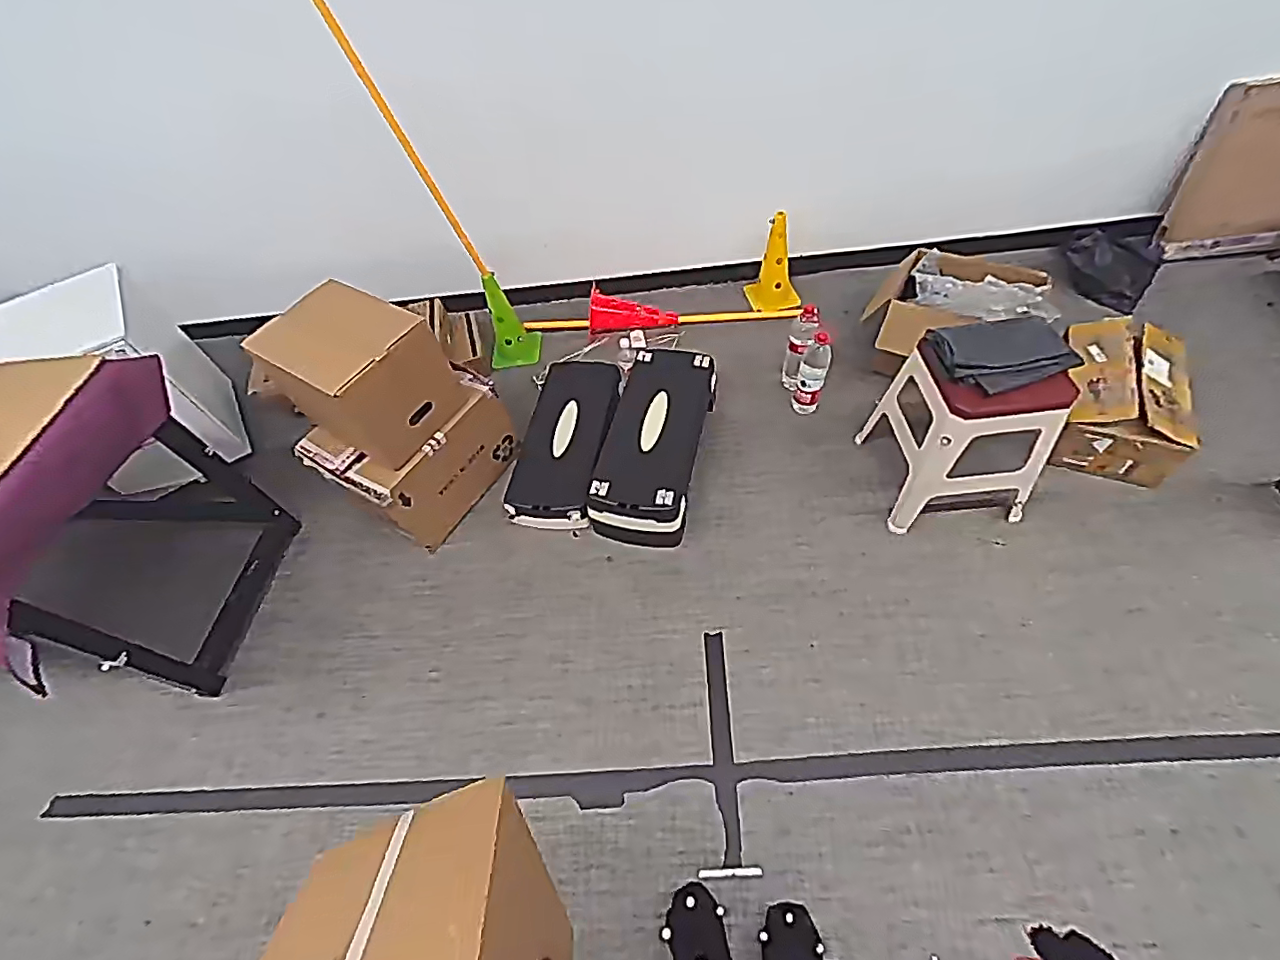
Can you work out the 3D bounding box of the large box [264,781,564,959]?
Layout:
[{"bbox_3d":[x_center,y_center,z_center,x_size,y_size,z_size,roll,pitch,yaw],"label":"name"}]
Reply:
[{"bbox_3d":[-0.288,0.706,0.706,0.320,0.408,0.320,-21,99,-6],"label":"large box"}]
